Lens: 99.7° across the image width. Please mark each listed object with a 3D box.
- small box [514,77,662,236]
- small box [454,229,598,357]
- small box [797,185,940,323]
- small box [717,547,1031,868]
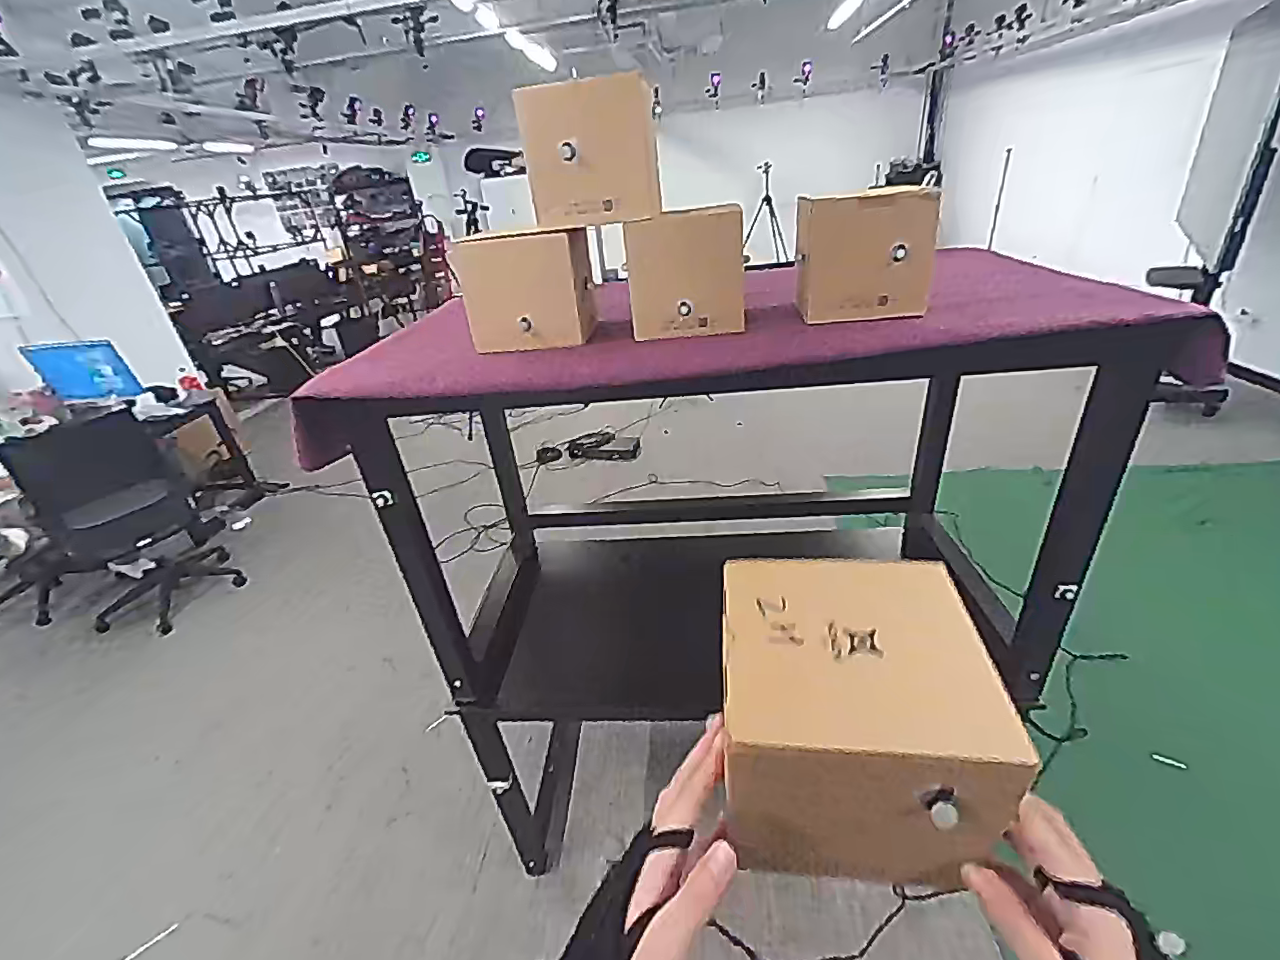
[{"bbox_3d":[-0.061,-0.454,0.782,0.168,0.176,0.179,-3,29,9],"label":"small box"},{"bbox_3d":[-0.170,-0.307,0.878,0.179,0.176,0.168,-2,29,7],"label":"small box"},{"bbox_3d":[0.329,-0.338,0.816,0.168,0.176,0.179,-1,28,11],"label":"small box"},{"bbox_3d":[0.152,0.170,0.421,0.179,0.176,0.168,-1,34,11],"label":"small box"}]
